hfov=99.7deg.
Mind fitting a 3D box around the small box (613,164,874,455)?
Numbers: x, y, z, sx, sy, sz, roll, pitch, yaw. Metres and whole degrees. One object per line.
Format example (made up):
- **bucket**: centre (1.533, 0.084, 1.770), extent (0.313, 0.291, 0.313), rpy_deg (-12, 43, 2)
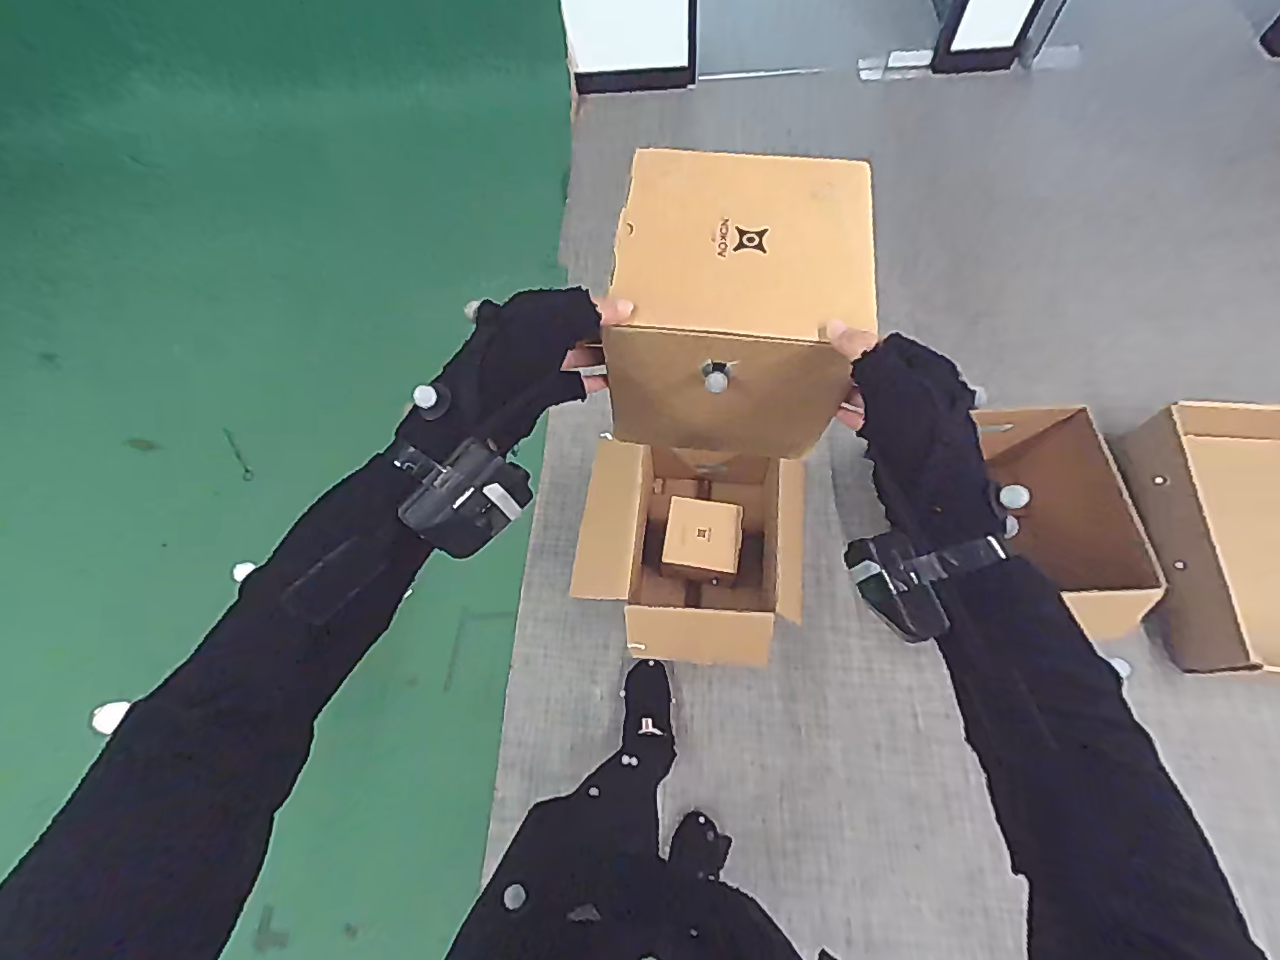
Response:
- **small box**: centre (0.079, -0.133, 0.463), extent (0.179, 0.176, 0.168), rpy_deg (5, 67, 5)
